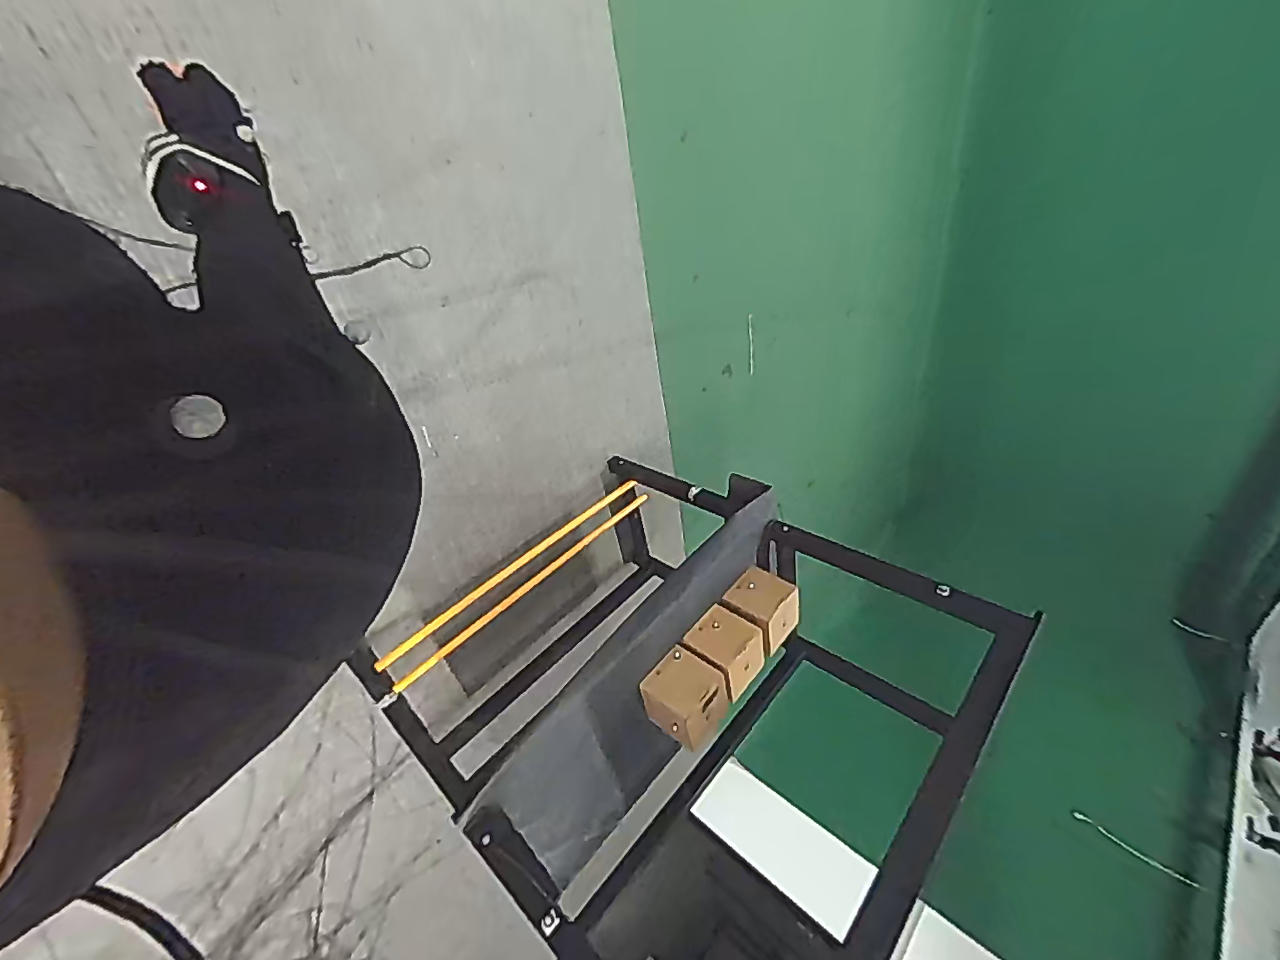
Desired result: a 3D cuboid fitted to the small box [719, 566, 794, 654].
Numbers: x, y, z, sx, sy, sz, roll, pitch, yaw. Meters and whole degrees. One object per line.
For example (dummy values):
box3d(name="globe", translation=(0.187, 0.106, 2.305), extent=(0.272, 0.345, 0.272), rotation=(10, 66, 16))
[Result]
box3d(name="small box", translation=(0.364, 0.402, 1.695), extent=(0.168, 0.176, 0.179), rotation=(-38, 133, -31))

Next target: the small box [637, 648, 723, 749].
box3d(name="small box", translation=(0.109, 0.595, 1.500), extent=(0.168, 0.176, 0.179), rotation=(-38, 134, -31))
